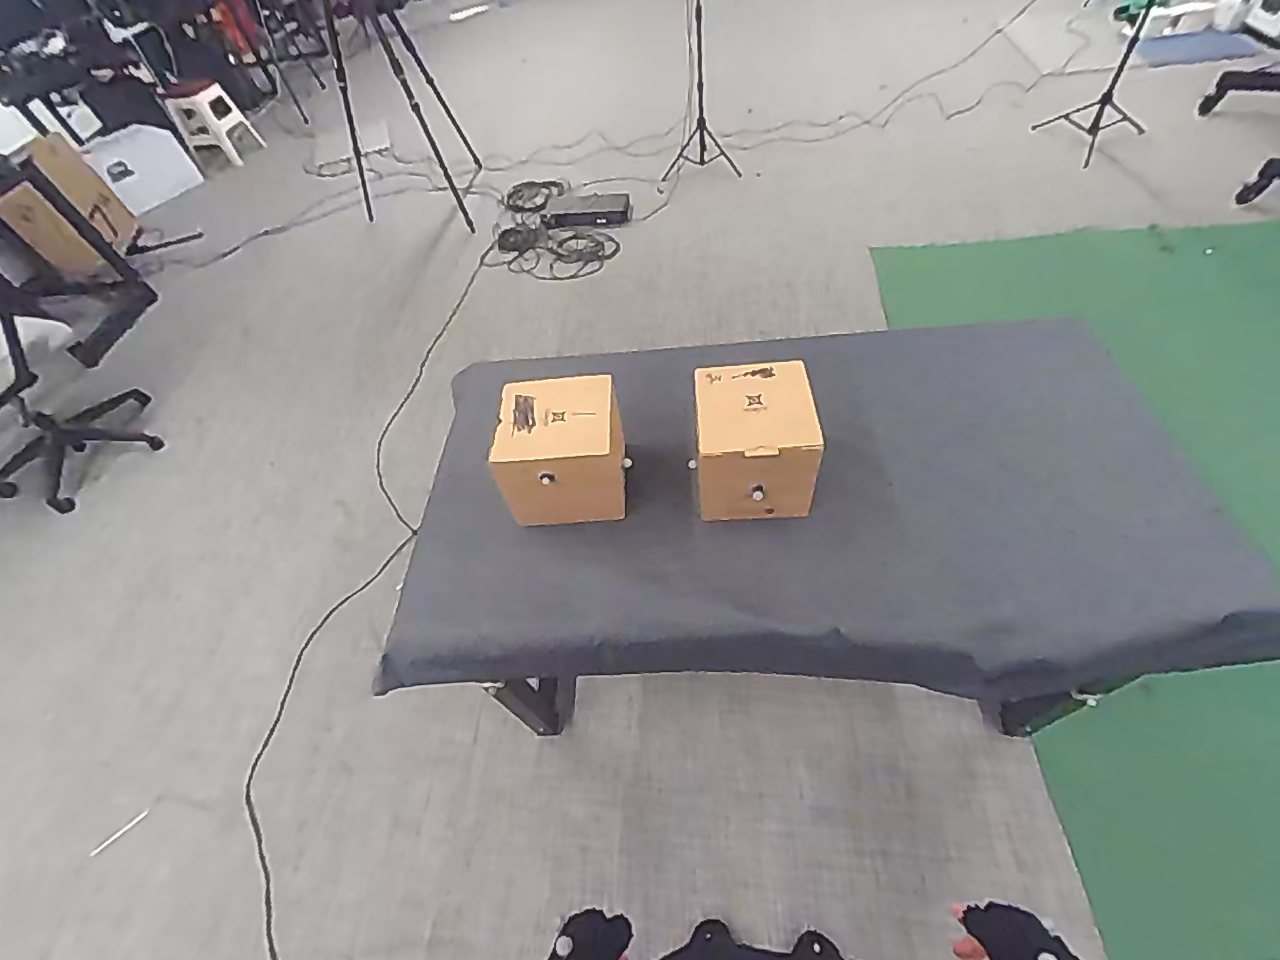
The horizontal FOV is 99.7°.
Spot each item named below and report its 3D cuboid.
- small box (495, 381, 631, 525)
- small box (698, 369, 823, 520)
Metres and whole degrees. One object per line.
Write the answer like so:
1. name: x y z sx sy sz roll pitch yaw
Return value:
1. small box: -0.113 -0.038 0.874 0.179 0.176 0.168 -4 52 4
2. small box: 0.178 -0.048 0.841 0.168 0.176 0.179 -3 53 6
